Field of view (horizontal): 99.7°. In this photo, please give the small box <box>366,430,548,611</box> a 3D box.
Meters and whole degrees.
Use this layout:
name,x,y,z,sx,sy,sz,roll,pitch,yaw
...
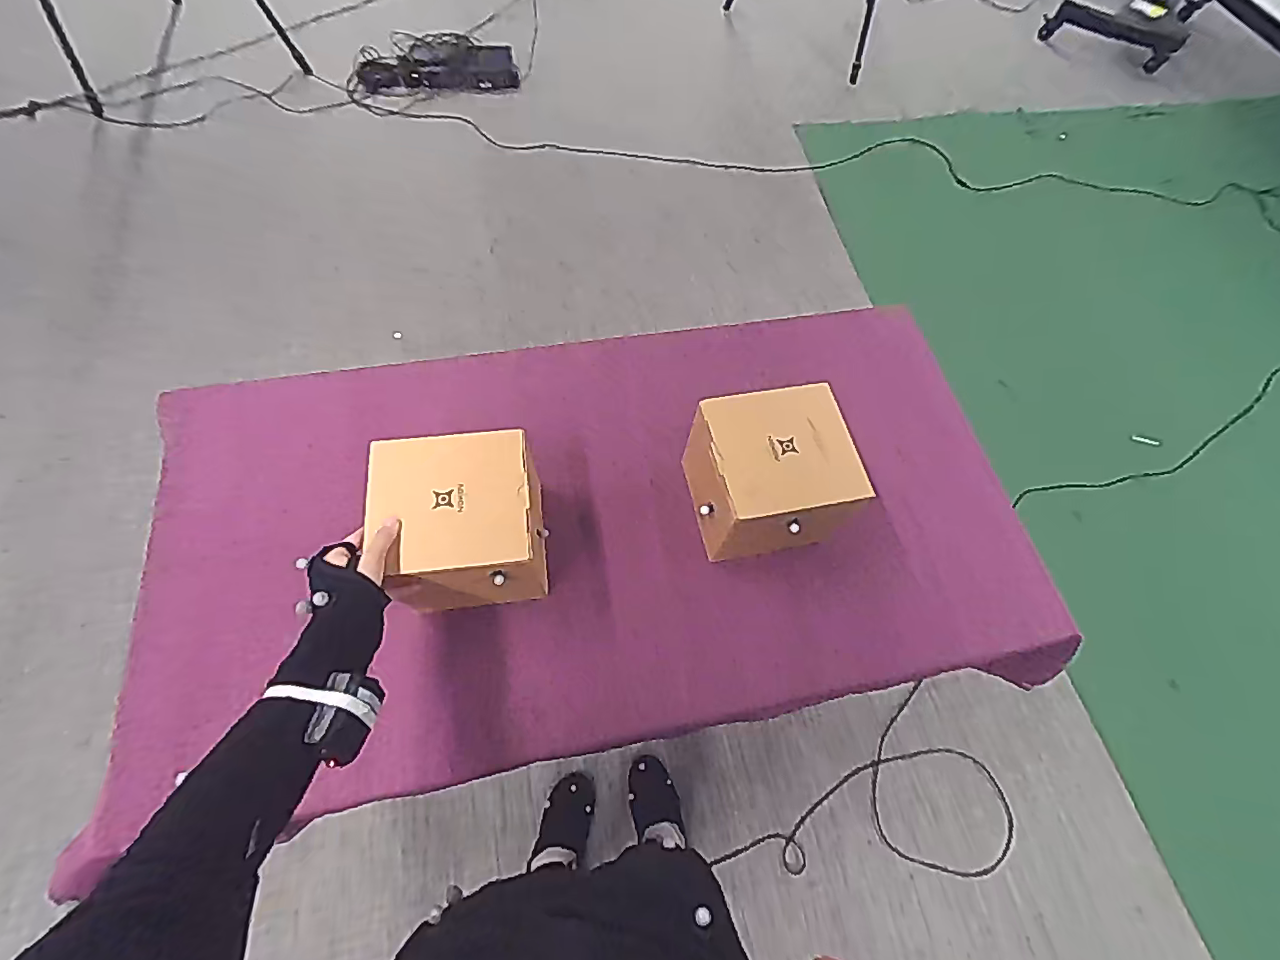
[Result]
name,x,y,z,sx,sy,sz,roll,pitch,yaw
small box,-0.215,0.057,0.675,0.179,0.176,0.168,-6,65,-8

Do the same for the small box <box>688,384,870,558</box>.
name,x,y,z,sx,sy,sz,roll,pitch,yaw
small box,0.168,-0.005,0.729,0.179,0.176,0.168,-9,66,-9
